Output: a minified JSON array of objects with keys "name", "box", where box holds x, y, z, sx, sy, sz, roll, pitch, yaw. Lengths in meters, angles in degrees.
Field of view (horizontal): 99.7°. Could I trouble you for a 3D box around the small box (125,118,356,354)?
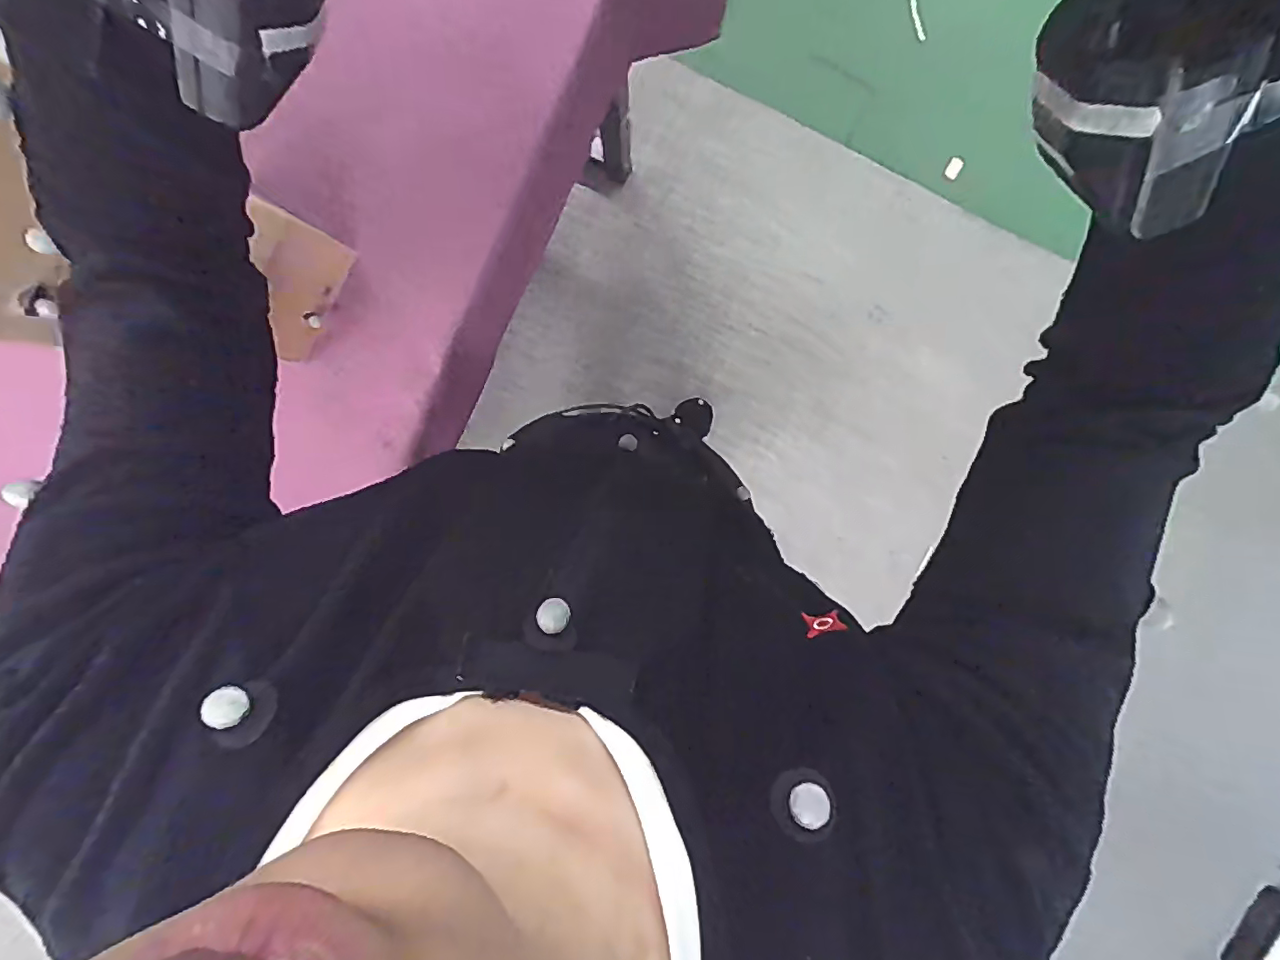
[{"name":"small box","box":[-0.478,-0.259,0.627,0.179,0.176,0.168,29,97,-4]}]
